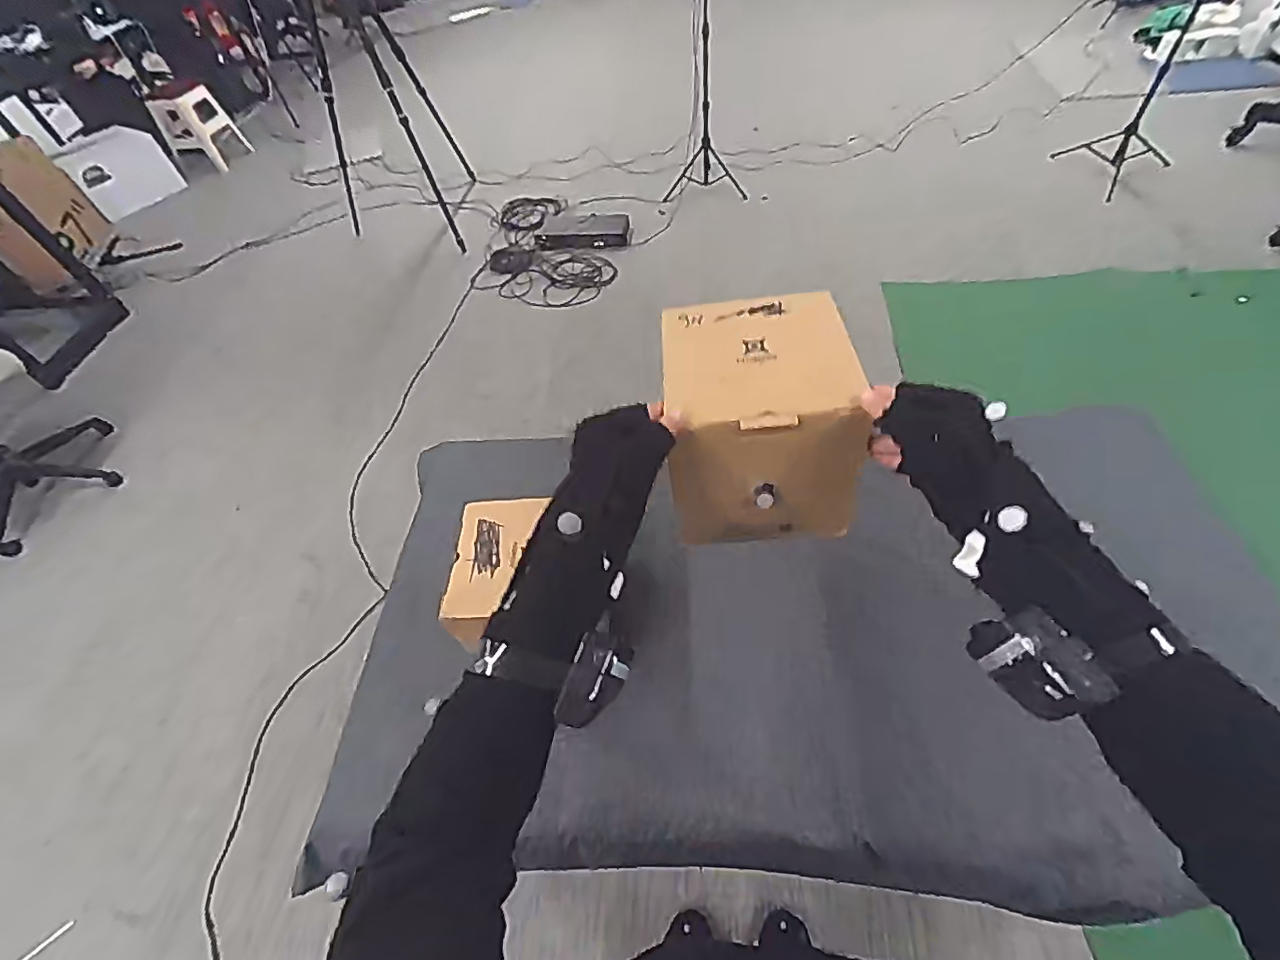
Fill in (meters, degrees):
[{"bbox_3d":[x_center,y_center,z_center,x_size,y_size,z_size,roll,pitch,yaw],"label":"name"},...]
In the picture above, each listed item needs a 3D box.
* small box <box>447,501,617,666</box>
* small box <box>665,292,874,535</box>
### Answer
[{"bbox_3d":[-0.131,0.144,0.731,0.179,0.176,0.168,-2,52,4],"label":"small box"},{"bbox_3d":[0.116,-0.057,0.536,0.168,0.176,0.179,-5,49,7],"label":"small box"}]
